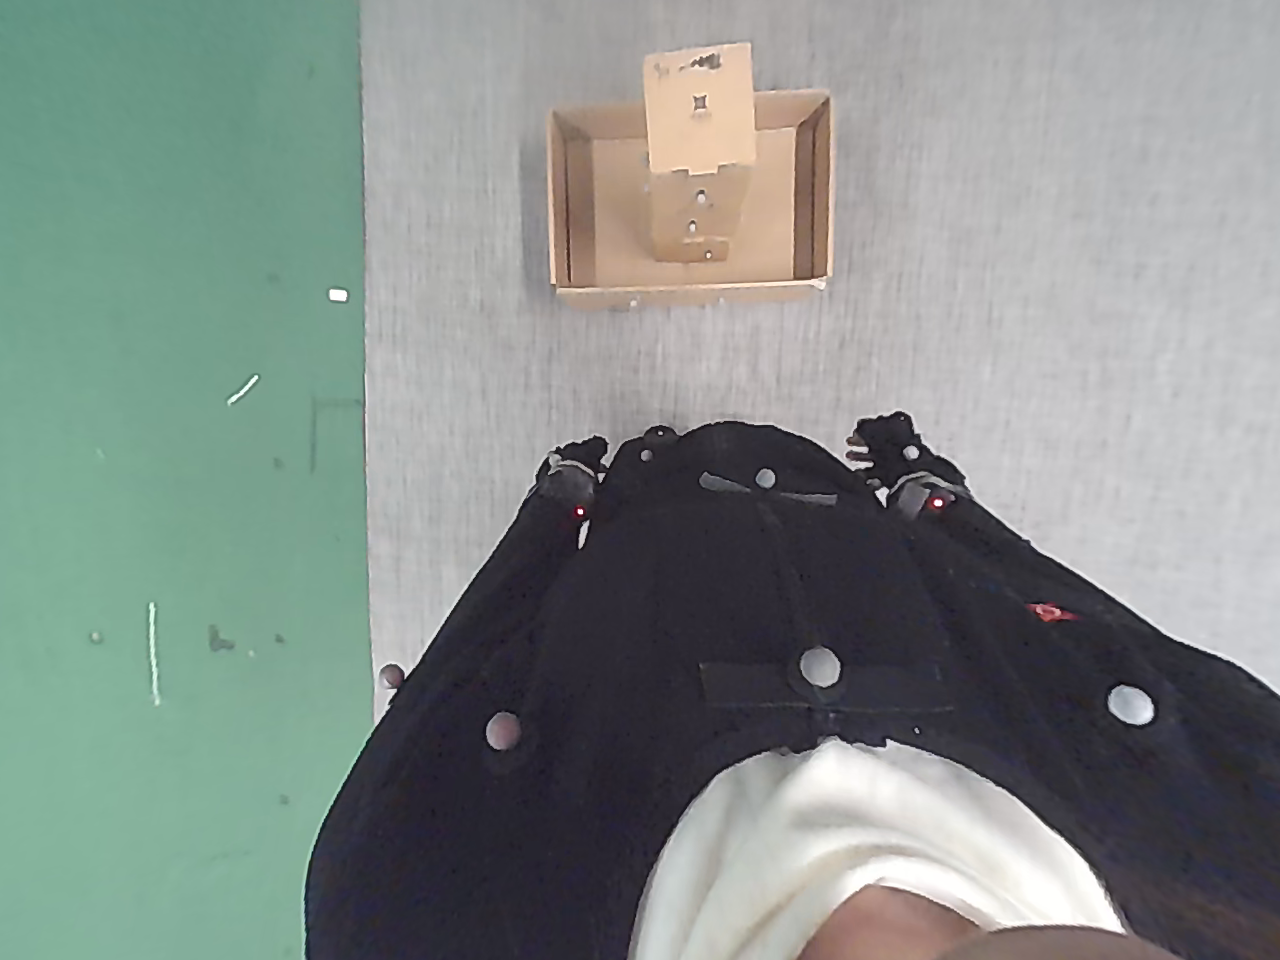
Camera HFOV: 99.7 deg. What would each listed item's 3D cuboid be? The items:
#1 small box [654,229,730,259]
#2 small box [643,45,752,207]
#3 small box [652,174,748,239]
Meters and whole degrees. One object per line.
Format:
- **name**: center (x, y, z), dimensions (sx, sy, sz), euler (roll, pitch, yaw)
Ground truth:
- **small box**: center (0.120, -0.615, 1.233), dimensions (0.168, 0.176, 0.179), euler (1, 95, 3)
- **small box**: center (0.096, -0.577, 0.910), dimensions (0.168, 0.176, 0.179), euler (-3, 97, 4)
- **small box**: center (0.111, -0.594, 1.071), dimensions (0.179, 0.176, 0.168), euler (-4, 97, 3)
